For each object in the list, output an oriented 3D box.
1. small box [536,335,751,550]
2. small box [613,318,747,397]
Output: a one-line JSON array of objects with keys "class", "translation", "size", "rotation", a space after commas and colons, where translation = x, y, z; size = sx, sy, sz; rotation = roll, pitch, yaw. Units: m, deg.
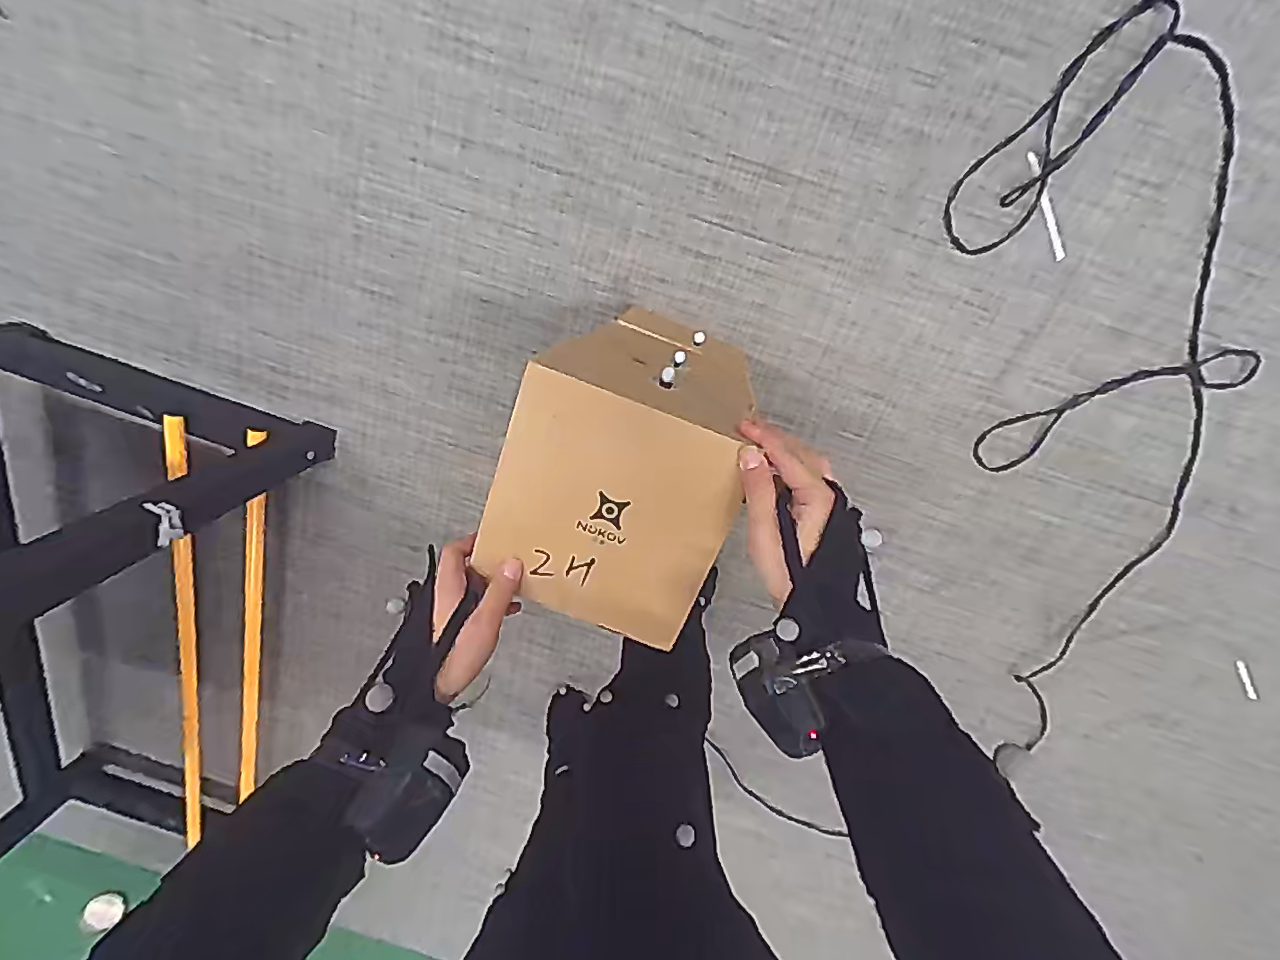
[{"class": "small box", "translation": [0.007, -0.053, 0.607], "size": [0.179, 0.176, 0.168], "rotation": [20, 111, -1]}, {"class": "small box", "translation": [0.029, -0.115, 0.755], "size": [0.179, 0.176, 0.168], "rotation": [22, 111, -4]}]
